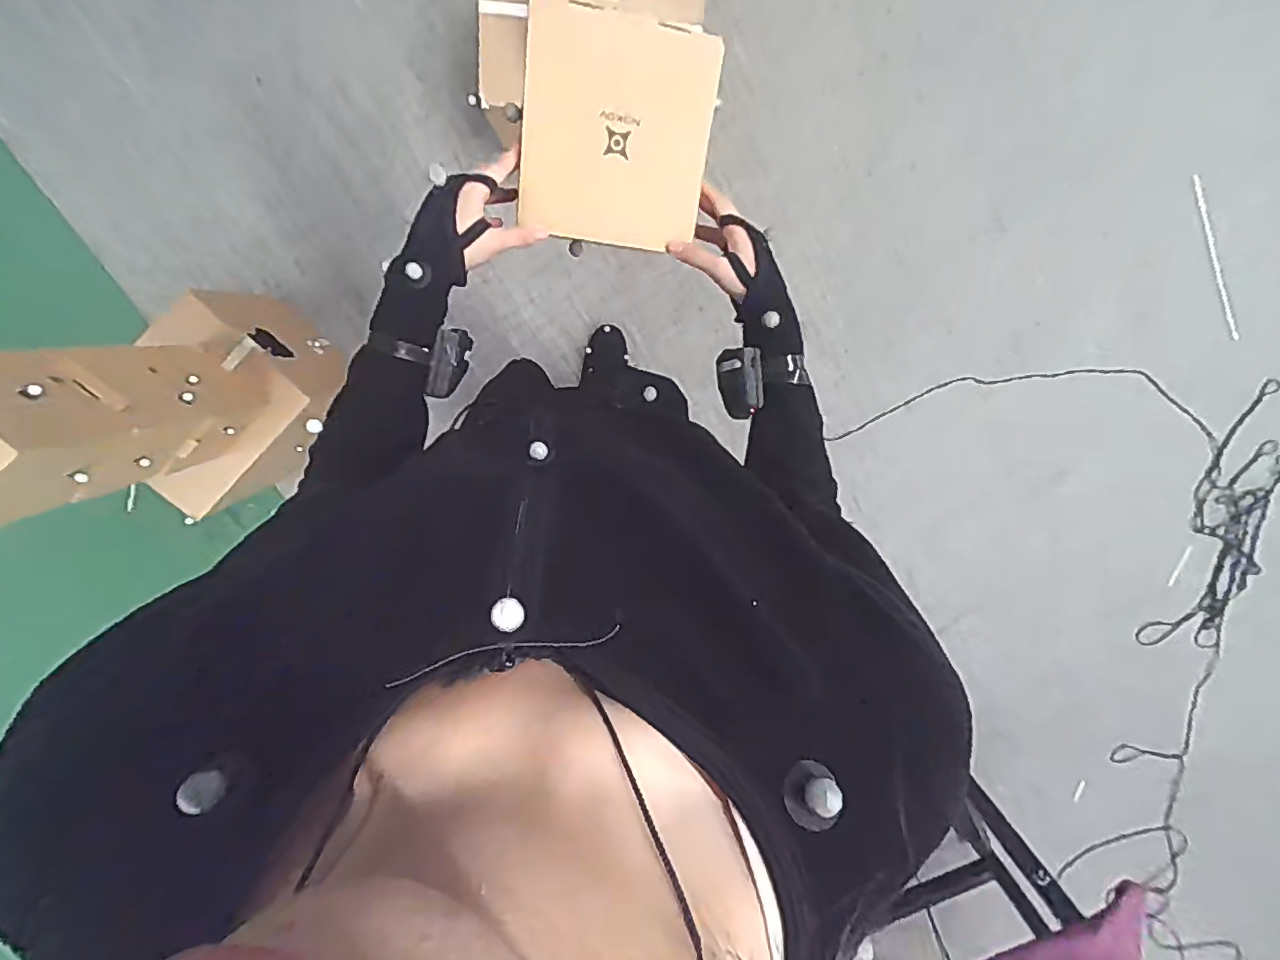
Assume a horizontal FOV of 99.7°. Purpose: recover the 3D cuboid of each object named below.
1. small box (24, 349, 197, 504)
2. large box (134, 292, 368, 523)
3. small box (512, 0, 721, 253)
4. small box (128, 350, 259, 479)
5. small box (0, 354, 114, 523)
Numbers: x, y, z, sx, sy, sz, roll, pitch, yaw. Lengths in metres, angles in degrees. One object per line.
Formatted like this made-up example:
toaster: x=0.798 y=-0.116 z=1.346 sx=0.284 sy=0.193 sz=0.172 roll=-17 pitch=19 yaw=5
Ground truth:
small box: x=-0.880 y=-0.097 z=0.876 sx=0.179 sy=0.176 sz=0.168 roll=-43 pitch=104 yaw=9
large box: x=-0.943 y=-0.181 z=1.273 sx=0.408 sy=0.320 sz=0.320 roll=-42 pitch=102 yaw=9
small box: x=-0.036 y=-0.331 z=0.539 sx=0.168 sy=0.176 sz=0.179 roll=3 pitch=111 yaw=-13
small box: x=-0.890 y=-0.135 z=1.035 sx=0.168 sy=0.176 sz=0.179 roll=-42 pitch=103 yaw=8
small box: x=-0.874 y=-0.053 z=0.718 sx=0.179 sy=0.176 sz=0.168 roll=-43 pitch=103 yaw=7
